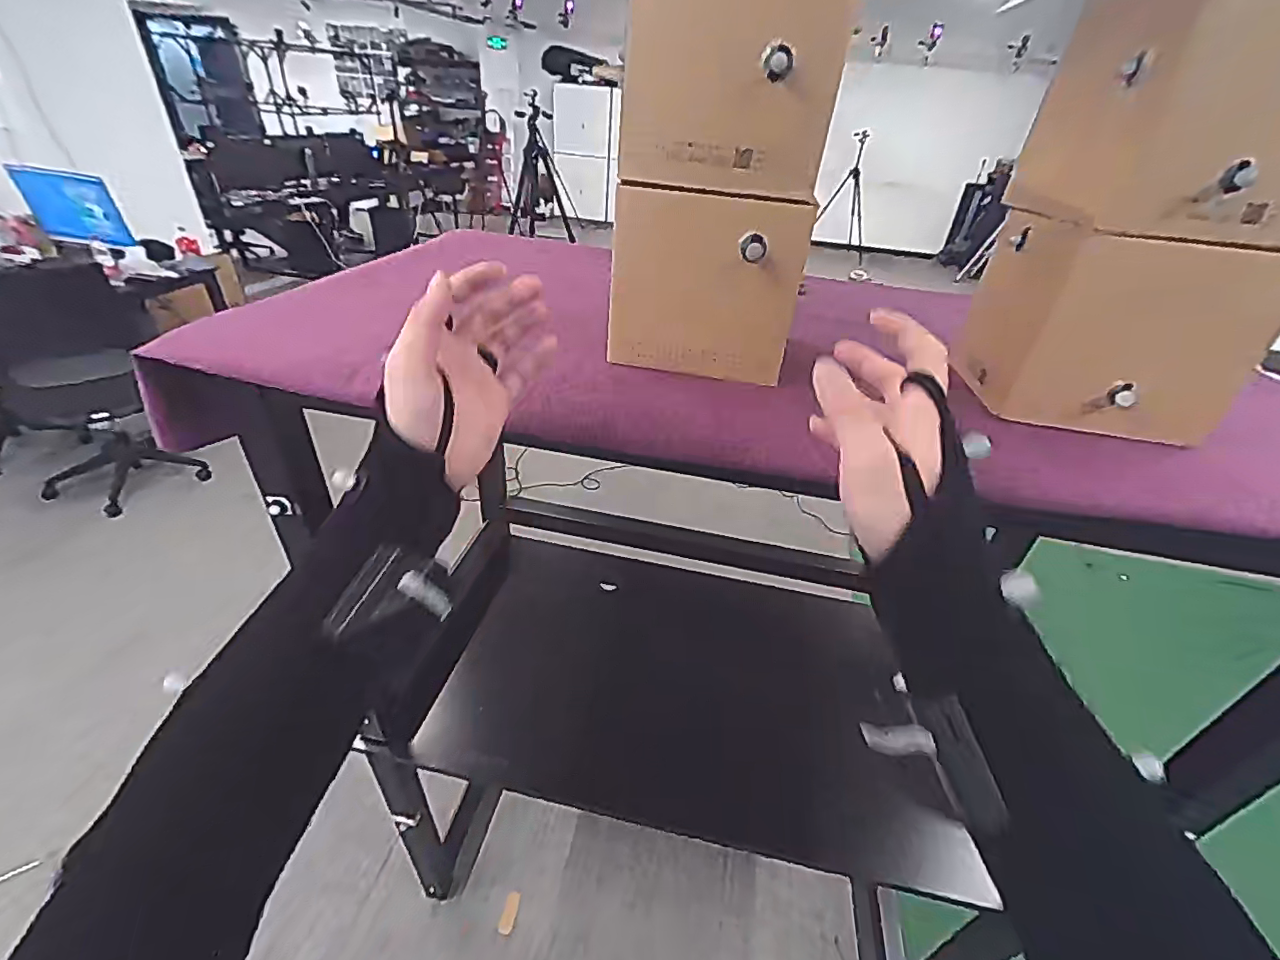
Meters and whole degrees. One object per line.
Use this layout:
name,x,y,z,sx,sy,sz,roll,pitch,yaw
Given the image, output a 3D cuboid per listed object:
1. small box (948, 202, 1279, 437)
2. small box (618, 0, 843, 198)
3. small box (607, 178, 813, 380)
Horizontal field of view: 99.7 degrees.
small box,0.435,-0.156,0.518,0.179,0.176,0.168,9,33,7
small box,0.079,-0.355,0.479,0.168,0.176,0.179,11,34,8
small box,0.070,-0.218,0.567,0.179,0.176,0.168,10,34,8
